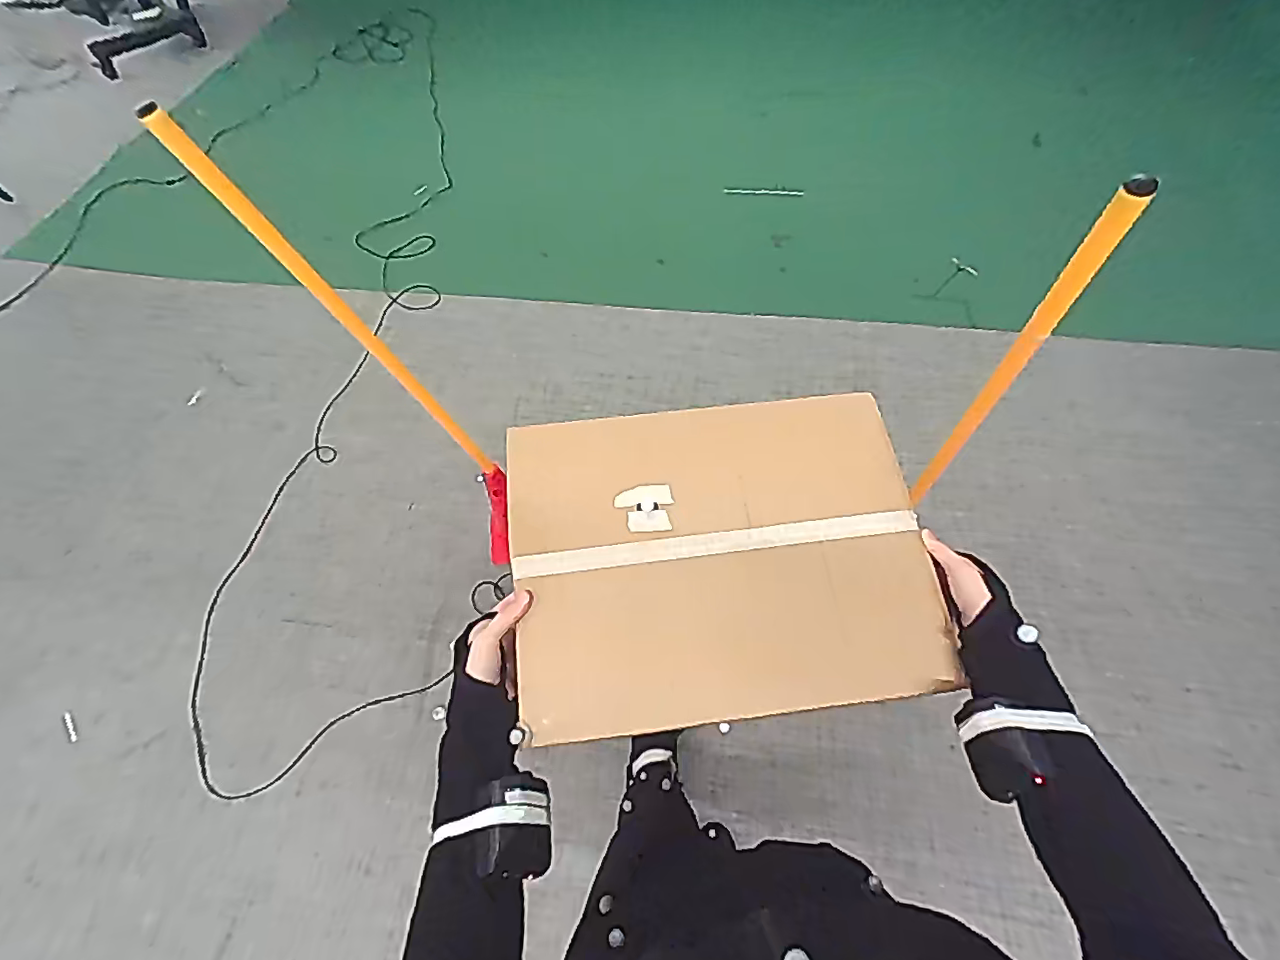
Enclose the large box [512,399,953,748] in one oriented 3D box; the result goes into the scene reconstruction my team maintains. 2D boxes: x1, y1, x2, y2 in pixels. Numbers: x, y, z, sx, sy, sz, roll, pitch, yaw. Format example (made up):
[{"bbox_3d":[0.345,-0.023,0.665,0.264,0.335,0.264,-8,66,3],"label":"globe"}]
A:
[{"bbox_3d":[0.079,0.130,0.684,0.408,0.320,0.320,-7,66,-2],"label":"large box"}]
